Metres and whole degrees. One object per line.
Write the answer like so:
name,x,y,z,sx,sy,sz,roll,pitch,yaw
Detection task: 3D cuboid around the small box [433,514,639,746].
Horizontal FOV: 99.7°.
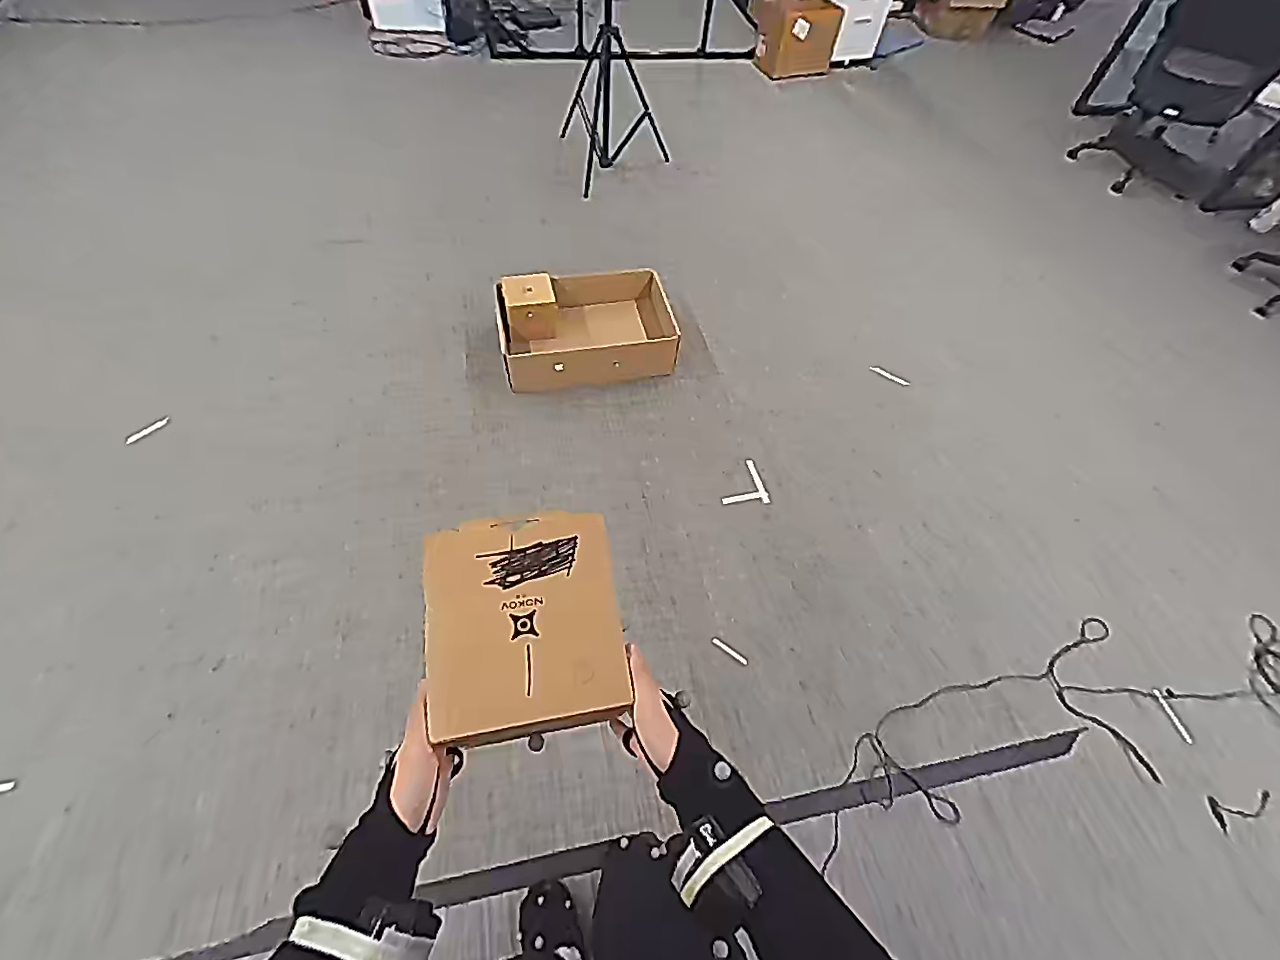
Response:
small box,-0.104,0.153,0.538,0.168,0.176,0.179,-7,64,-10
